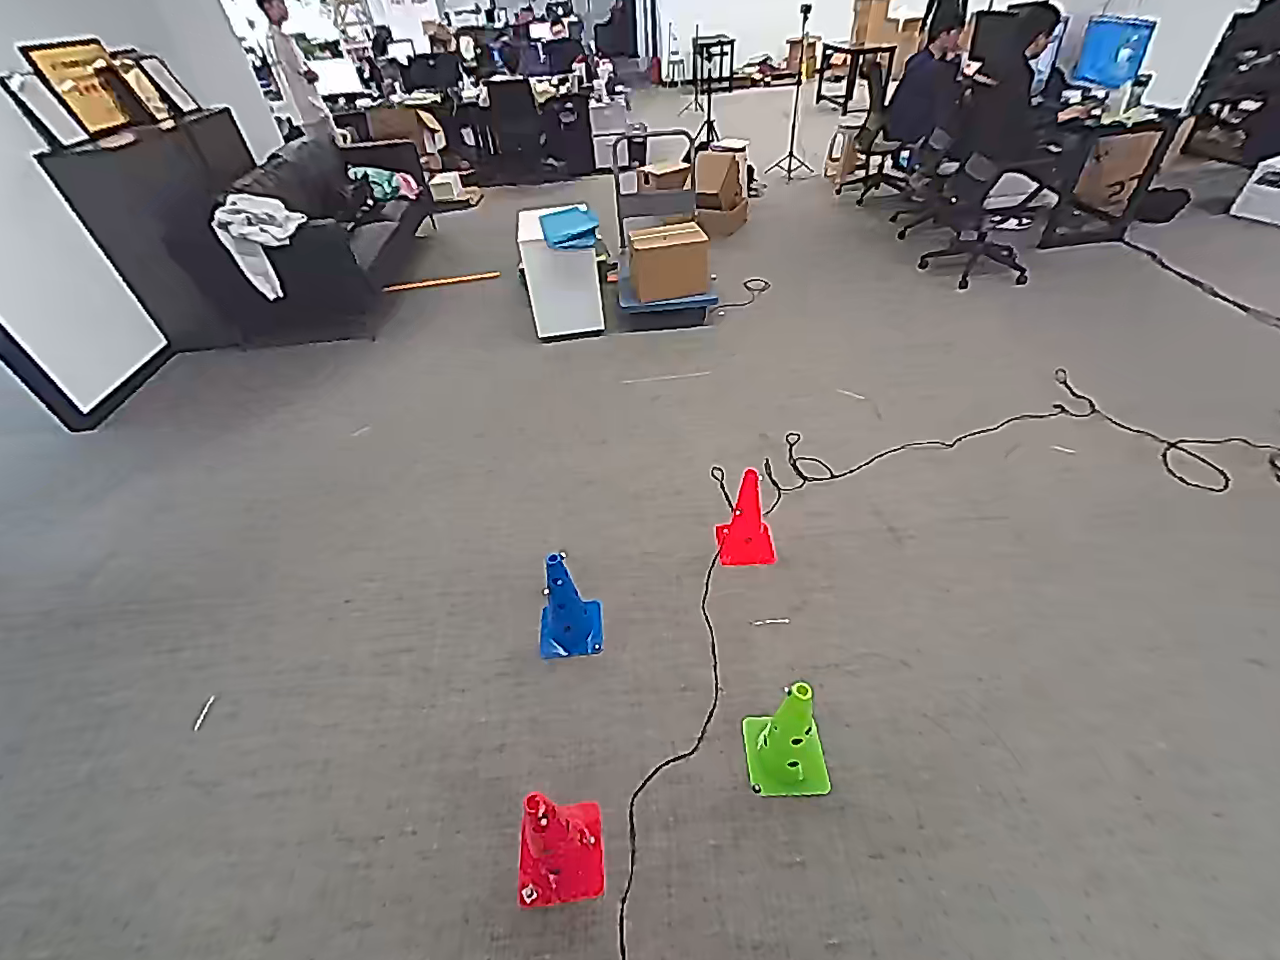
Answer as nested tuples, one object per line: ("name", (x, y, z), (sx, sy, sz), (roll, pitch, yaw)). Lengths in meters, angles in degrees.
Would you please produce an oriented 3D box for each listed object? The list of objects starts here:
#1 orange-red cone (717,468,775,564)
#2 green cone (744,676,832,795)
("orange-red cone", (0.369, 0.103, 1.861), (0.198, 0.360, 0.199), (-3, 44, 4))
("green cone", (0.376, 0.591, 1.316), (0.200, 0.368, 0.202), (-4, 41, 1))
